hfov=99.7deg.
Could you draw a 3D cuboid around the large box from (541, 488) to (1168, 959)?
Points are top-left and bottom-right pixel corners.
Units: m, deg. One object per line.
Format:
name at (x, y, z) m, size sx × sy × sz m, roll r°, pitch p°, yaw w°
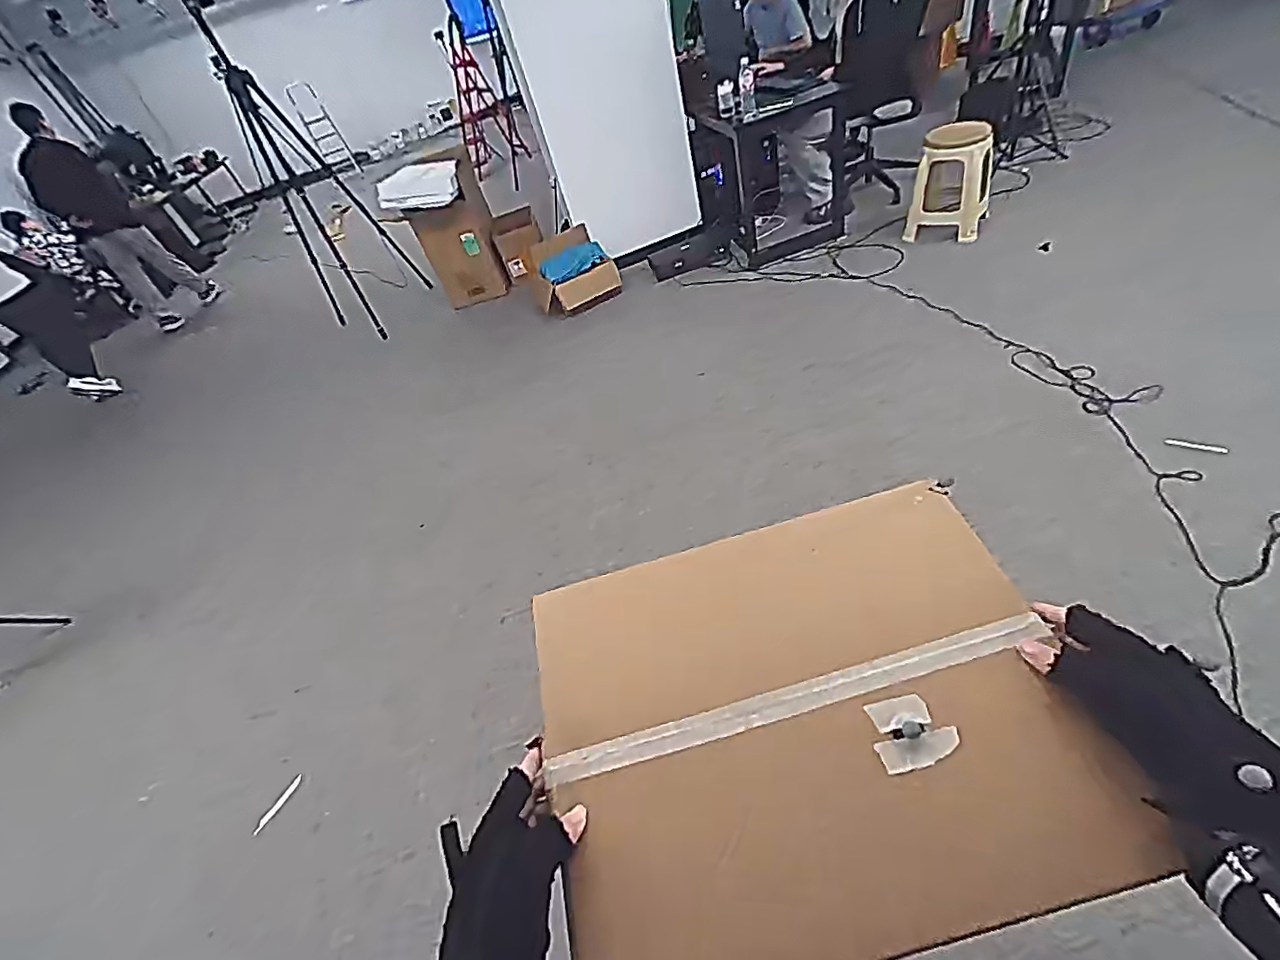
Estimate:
large box at (0.150, 0.268, 0.558) m, size 0.408 × 0.320 × 0.320 m, roll -17°, pitch 52°, yaw 0°
